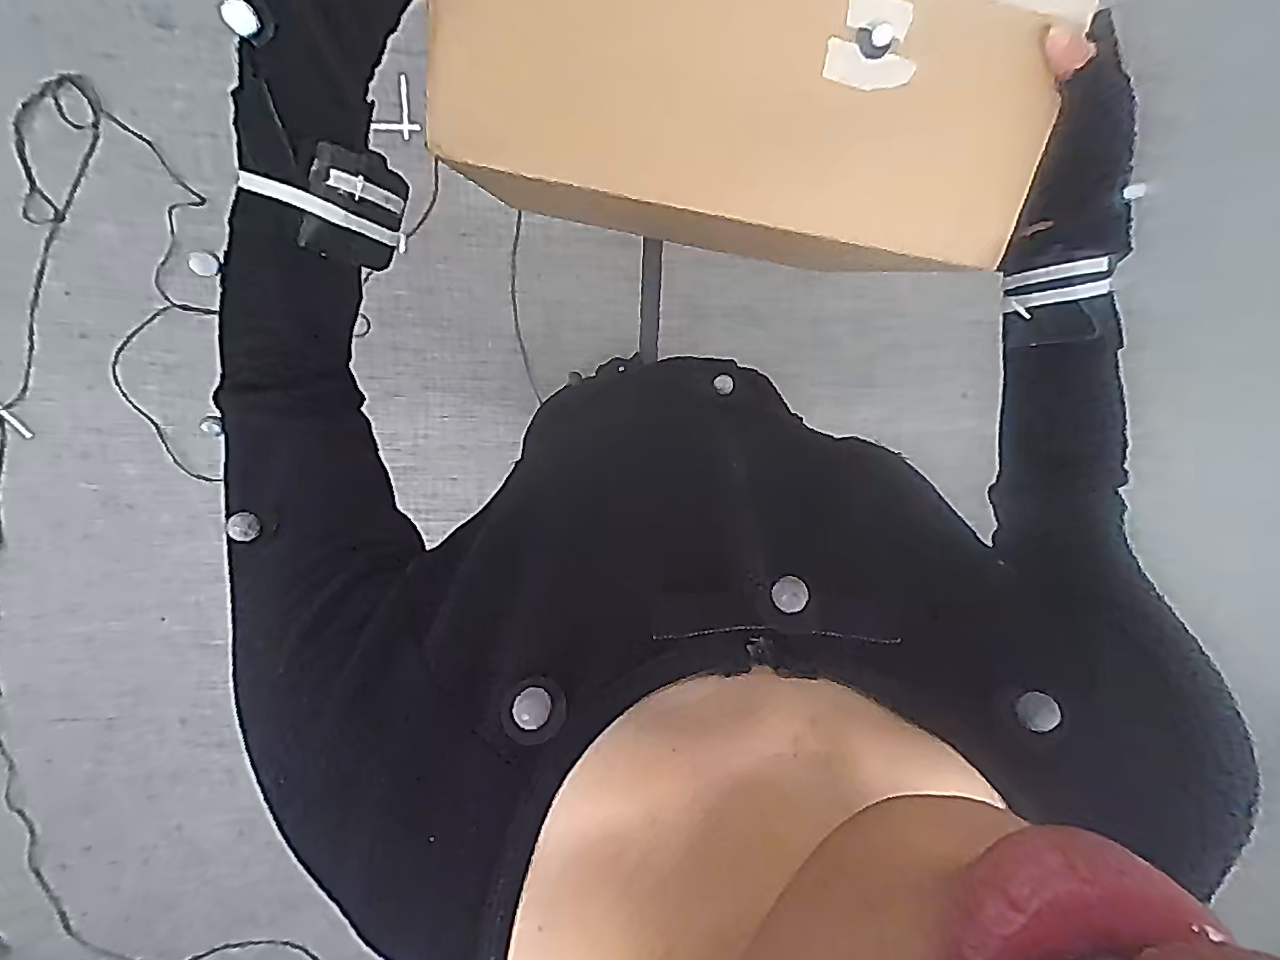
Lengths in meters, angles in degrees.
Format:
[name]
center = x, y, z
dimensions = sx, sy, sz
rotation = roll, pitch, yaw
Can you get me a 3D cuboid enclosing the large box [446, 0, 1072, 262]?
[large box]
center = 0.076, -0.388, 0.471
dimensions = 0.408, 0.320, 0.320
rotation = 8, 111, -7
